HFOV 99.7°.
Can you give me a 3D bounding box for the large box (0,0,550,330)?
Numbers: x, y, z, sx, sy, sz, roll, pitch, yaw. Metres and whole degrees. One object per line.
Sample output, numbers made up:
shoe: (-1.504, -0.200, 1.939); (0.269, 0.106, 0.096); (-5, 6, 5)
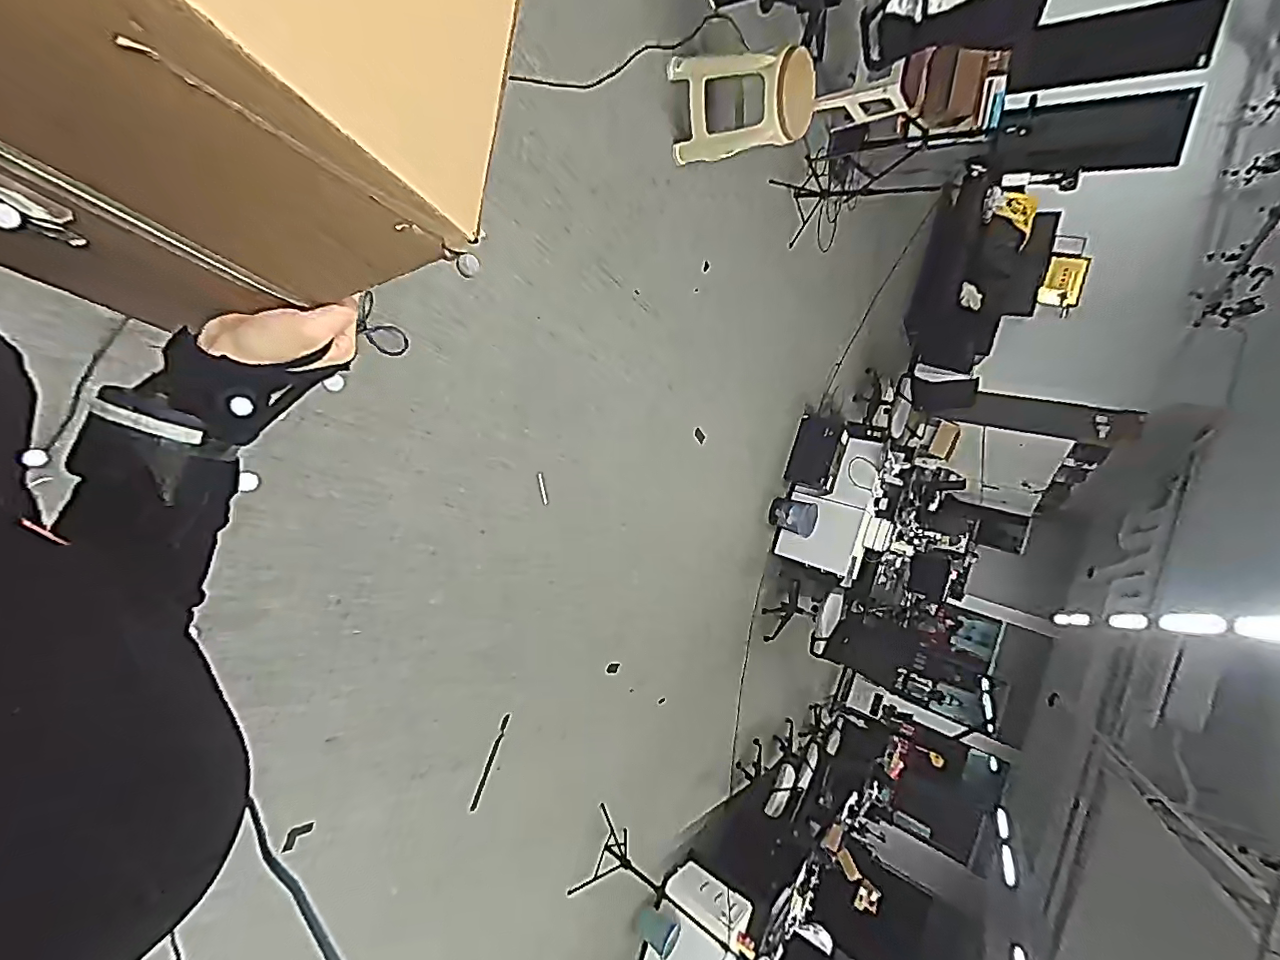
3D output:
large box: (-0.282, -0.324, 0.238); (0.408, 0.320, 0.320); (26, 65, -56)
